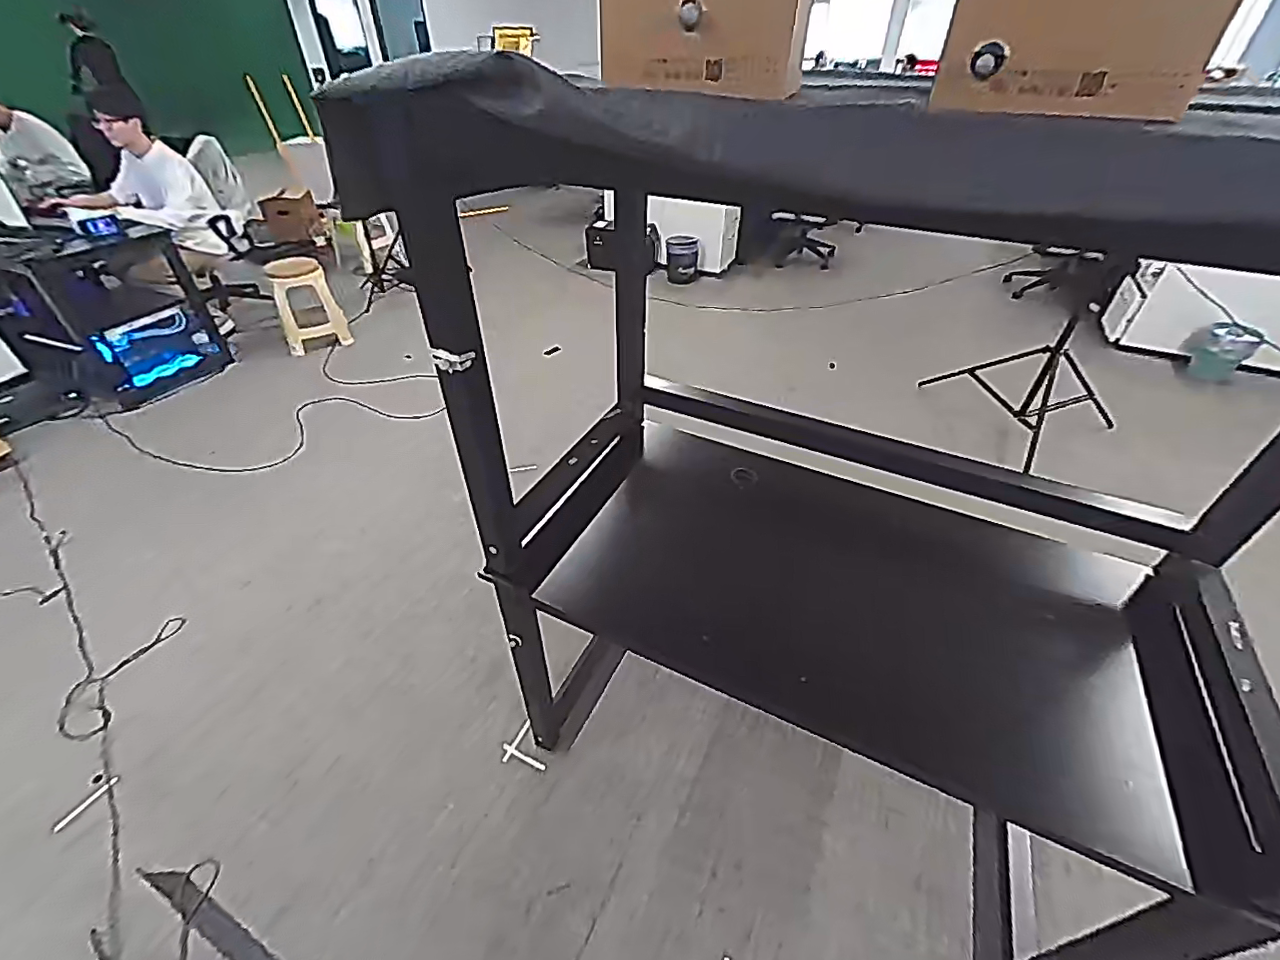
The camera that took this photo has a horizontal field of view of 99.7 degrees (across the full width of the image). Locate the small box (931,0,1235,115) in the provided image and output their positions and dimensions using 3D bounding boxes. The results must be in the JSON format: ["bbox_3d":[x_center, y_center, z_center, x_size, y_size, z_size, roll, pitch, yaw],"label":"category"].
[{"bbox_3d":[0.338,-0.383,0.408,0.168,0.176,0.179,18,41,19],"label":"small box"}]

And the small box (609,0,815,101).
[{"bbox_3d":[0.072,-0.454,0.488,0.168,0.176,0.179,12,40,13],"label":"small box"}]
